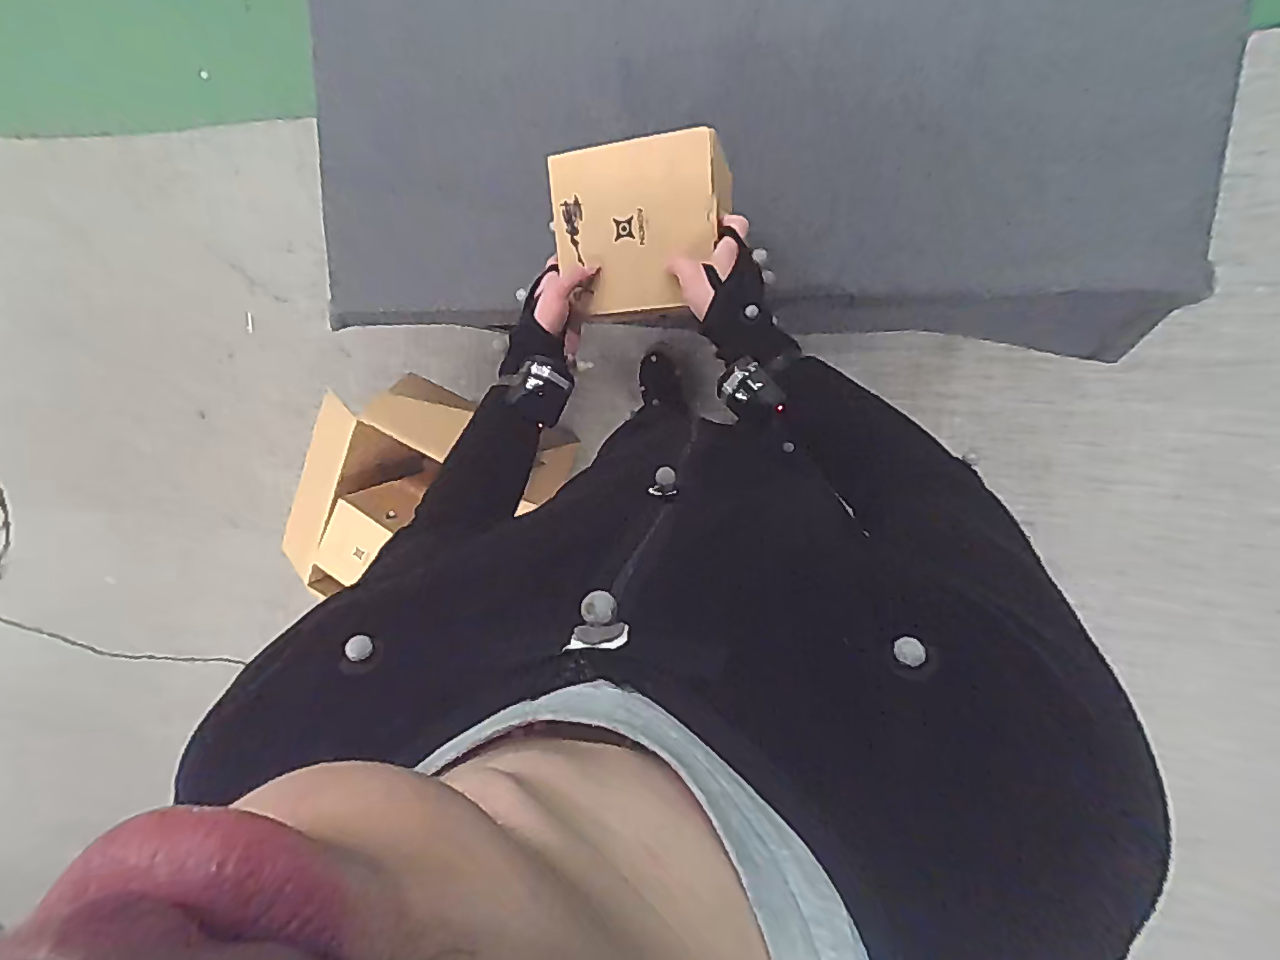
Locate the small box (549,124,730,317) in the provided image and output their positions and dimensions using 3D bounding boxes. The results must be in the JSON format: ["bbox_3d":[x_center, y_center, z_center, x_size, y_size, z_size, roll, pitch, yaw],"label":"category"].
[{"bbox_3d":[0.013,-0.282,0.628,0.179,0.176,0.168,0,104,15],"label":"small box"}]
